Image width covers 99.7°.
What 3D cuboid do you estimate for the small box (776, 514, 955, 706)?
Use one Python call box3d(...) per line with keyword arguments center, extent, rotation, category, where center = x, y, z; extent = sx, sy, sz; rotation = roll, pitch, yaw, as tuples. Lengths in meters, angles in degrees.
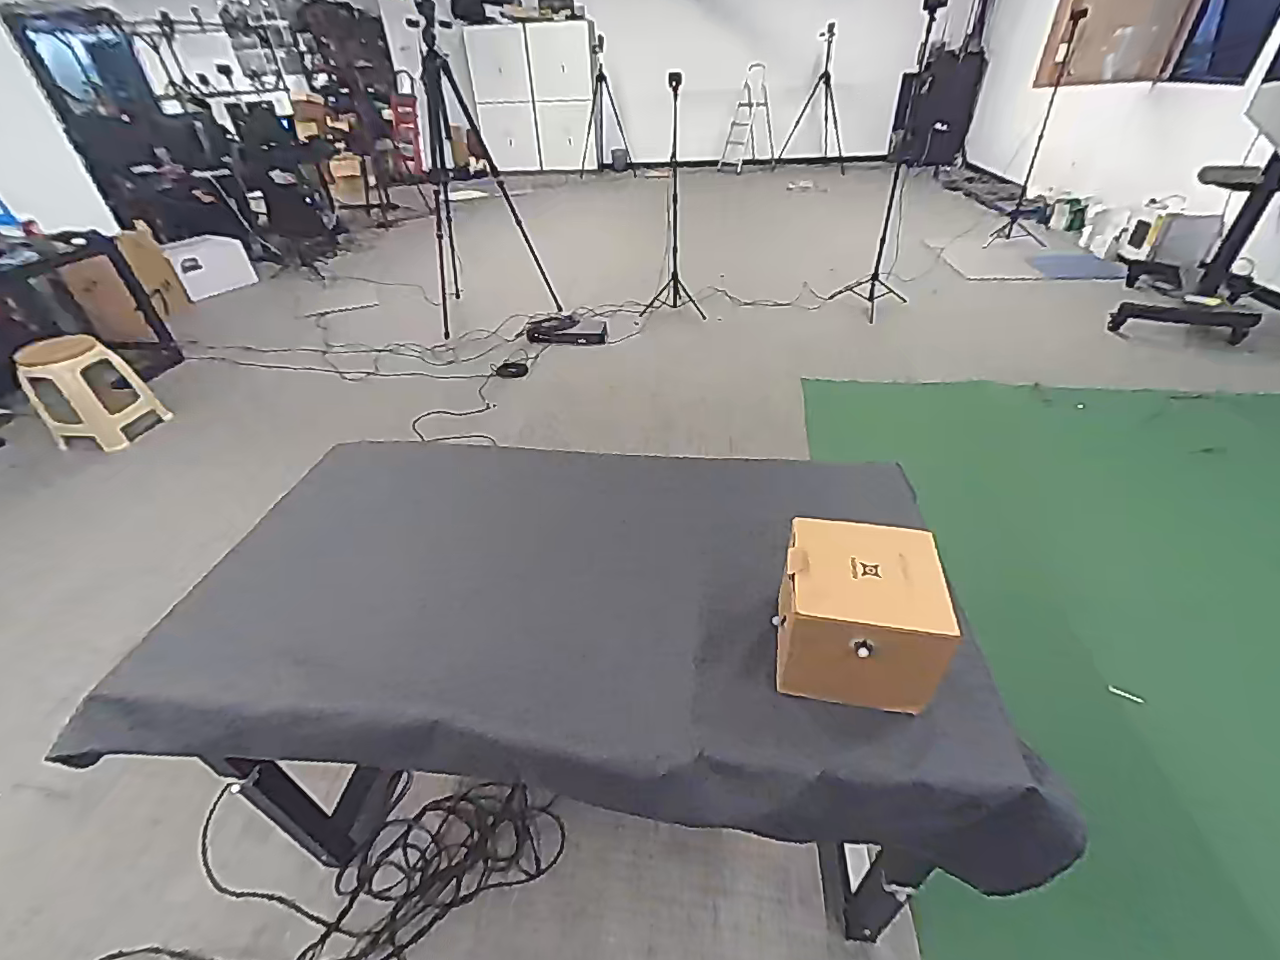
box3d(center=(0.274, 0.167, 0.701), extent=(0.179, 0.176, 0.168), rotation=(6, 40, 11), category="small box")
